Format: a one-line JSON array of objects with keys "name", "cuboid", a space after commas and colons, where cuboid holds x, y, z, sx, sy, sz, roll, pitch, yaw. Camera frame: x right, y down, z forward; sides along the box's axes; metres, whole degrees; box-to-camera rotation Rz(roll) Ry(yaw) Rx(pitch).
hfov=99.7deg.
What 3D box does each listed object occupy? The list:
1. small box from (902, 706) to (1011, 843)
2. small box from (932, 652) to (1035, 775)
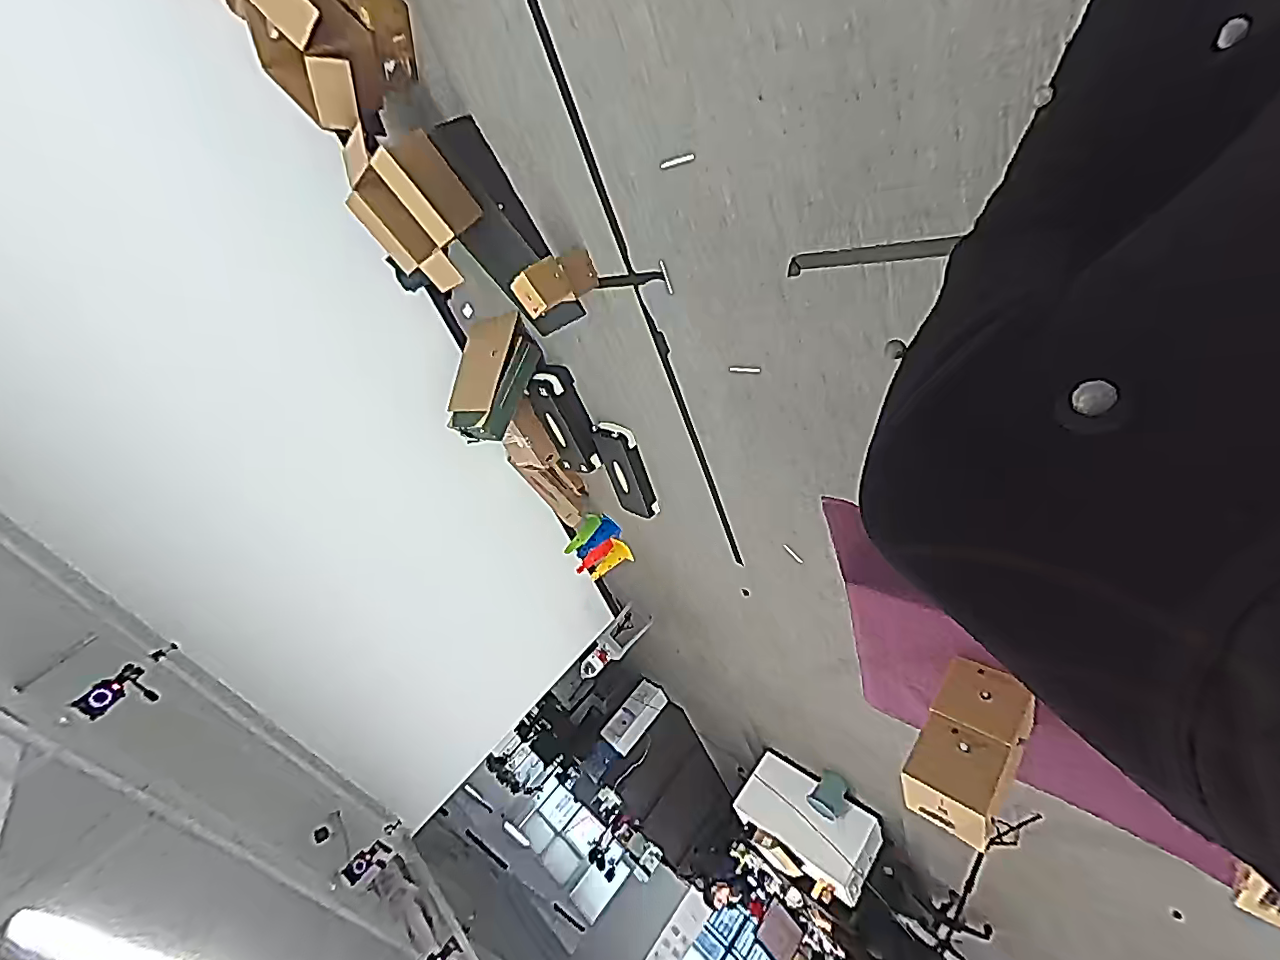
[{"name": "small box", "cuboid": [0.708, 0.650, 1.208, 0.168, 0.176, 0.179, 15, 139, 44]}, {"name": "small box", "cuboid": [0.811, 0.543, 1.278, 0.168, 0.176, 0.179, 16, 140, 45]}]
